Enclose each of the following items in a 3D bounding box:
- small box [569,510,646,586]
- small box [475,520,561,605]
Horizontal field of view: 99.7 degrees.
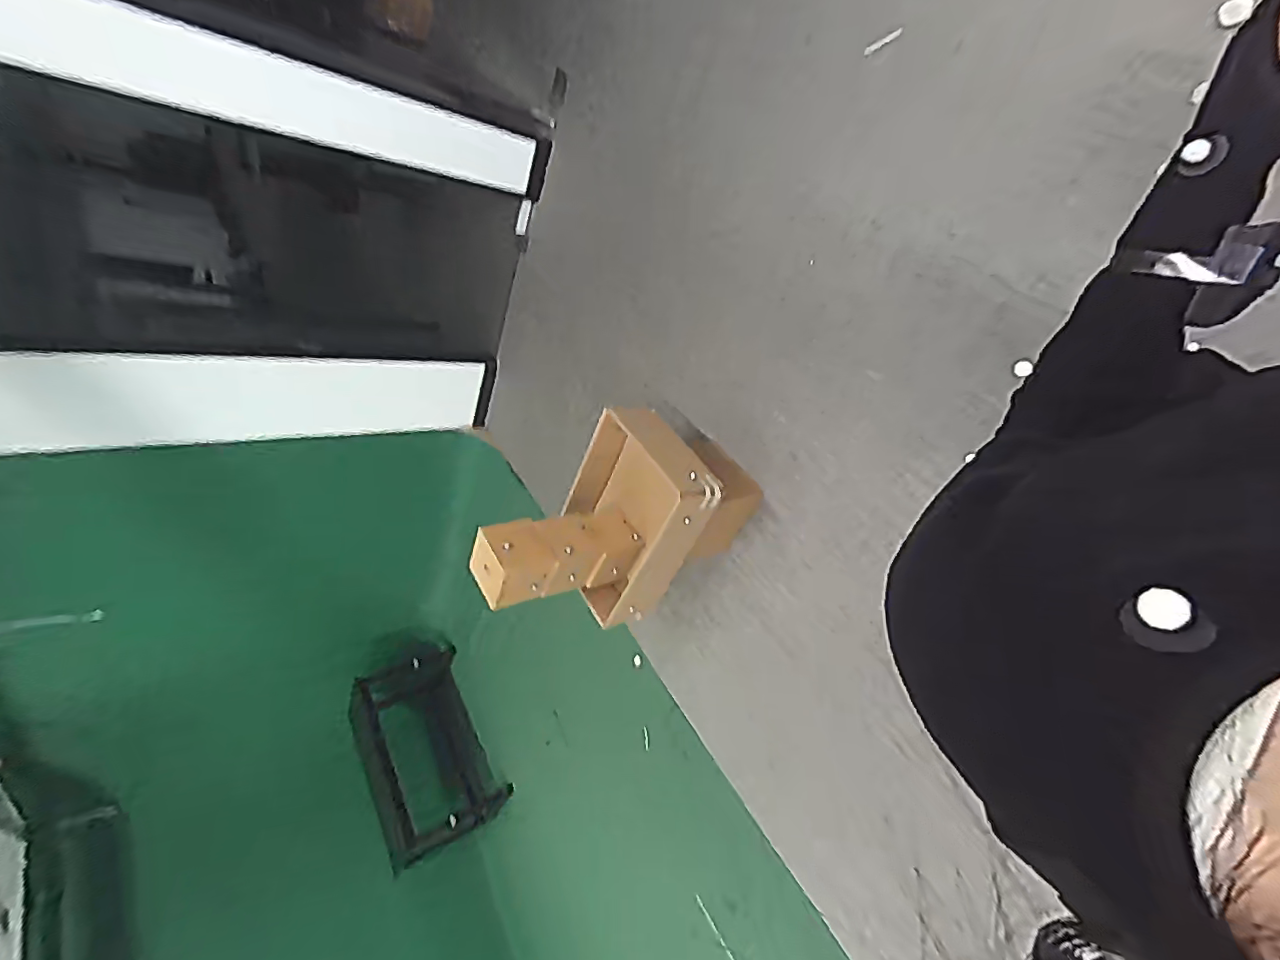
[{"bbox_3d":[-0.102,0.219,1.785,0.168,0.176,0.179,53,132,31],"label":"small box"},{"bbox_3d":[-0.359,0.233,1.585,0.179,0.176,0.168,50,131,32],"label":"small box"}]
